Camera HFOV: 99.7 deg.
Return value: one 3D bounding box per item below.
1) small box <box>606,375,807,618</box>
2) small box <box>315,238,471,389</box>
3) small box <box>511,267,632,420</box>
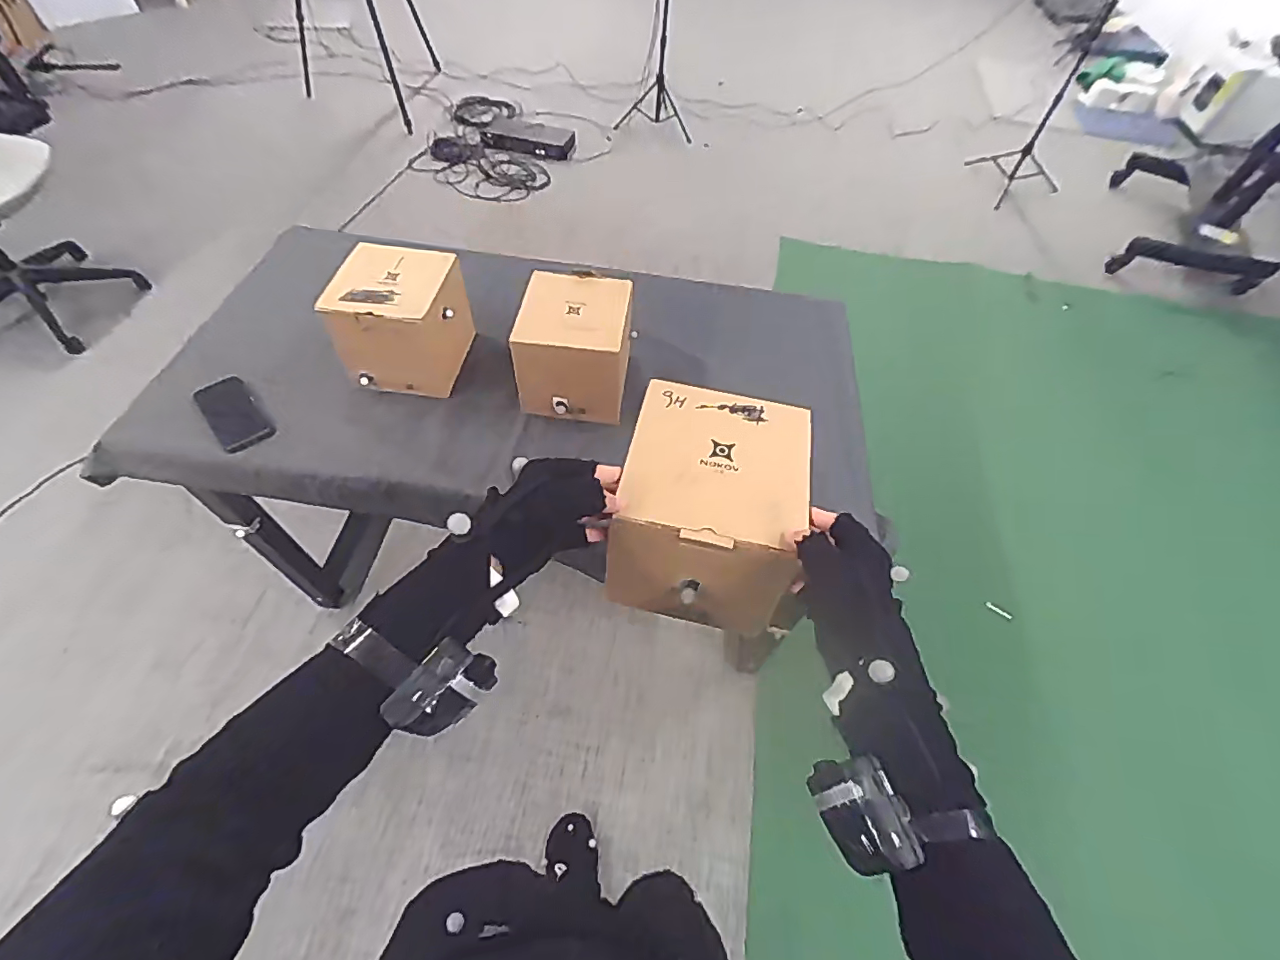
[{"bbox_3d":[0.065,0.023,0.564,0.168,0.176,0.179,12,54,4],"label":"small box"},{"bbox_3d":[-0.397,-0.275,0.911,0.168,0.176,0.179,7,55,0],"label":"small box"},{"bbox_3d":[-0.106,-0.225,0.905,0.168,0.176,0.179,5,56,1],"label":"small box"}]
